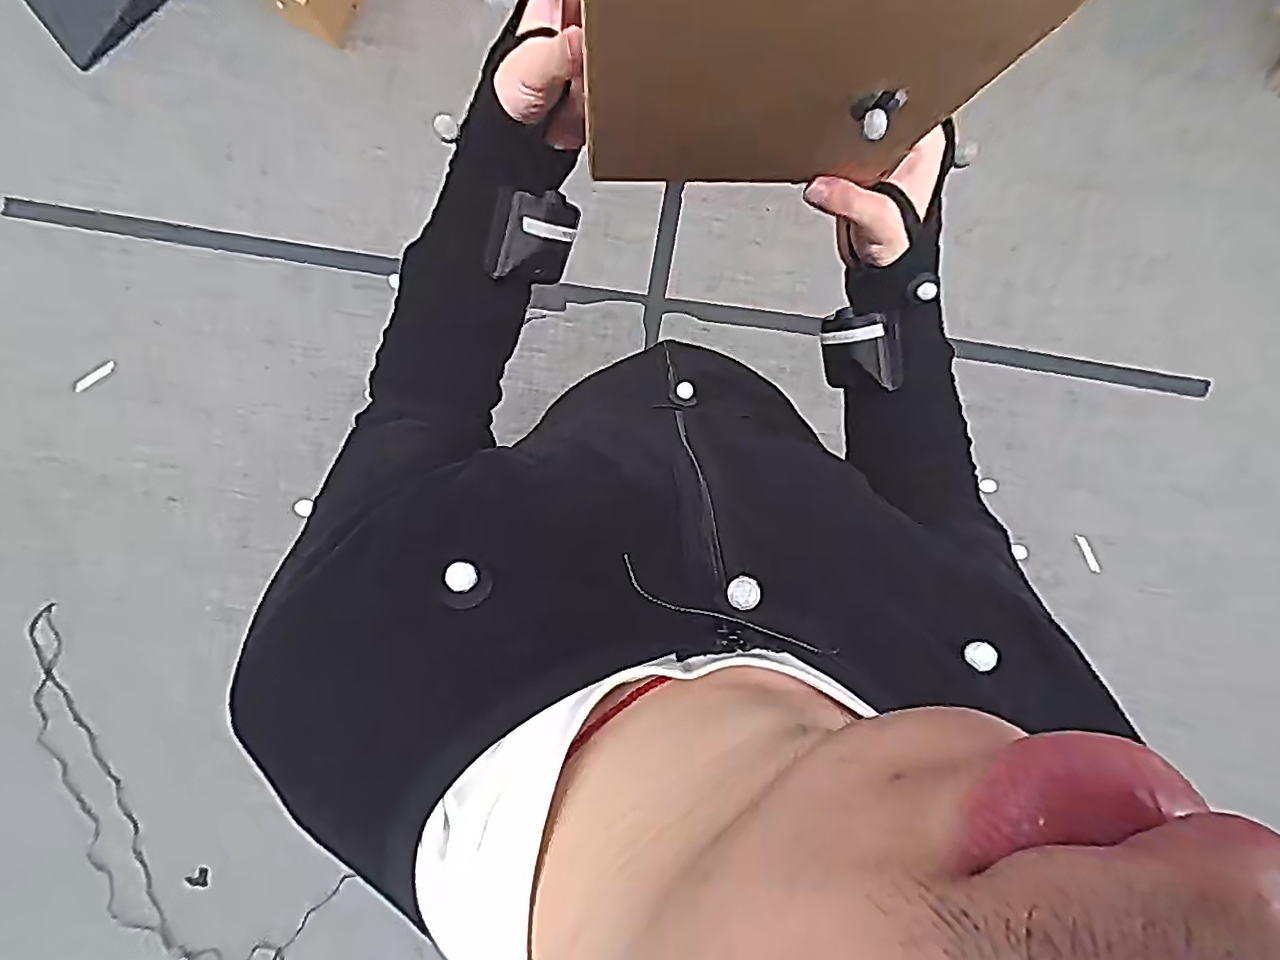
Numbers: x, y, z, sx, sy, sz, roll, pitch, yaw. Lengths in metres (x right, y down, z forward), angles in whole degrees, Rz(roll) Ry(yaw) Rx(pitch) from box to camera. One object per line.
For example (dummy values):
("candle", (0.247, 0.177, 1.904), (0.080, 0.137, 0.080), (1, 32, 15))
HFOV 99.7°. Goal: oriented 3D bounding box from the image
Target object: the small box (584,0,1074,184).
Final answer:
("small box", (0.062, -0.257, 0.249), (0.179, 0.176, 0.168), (-3, 96, -4))
